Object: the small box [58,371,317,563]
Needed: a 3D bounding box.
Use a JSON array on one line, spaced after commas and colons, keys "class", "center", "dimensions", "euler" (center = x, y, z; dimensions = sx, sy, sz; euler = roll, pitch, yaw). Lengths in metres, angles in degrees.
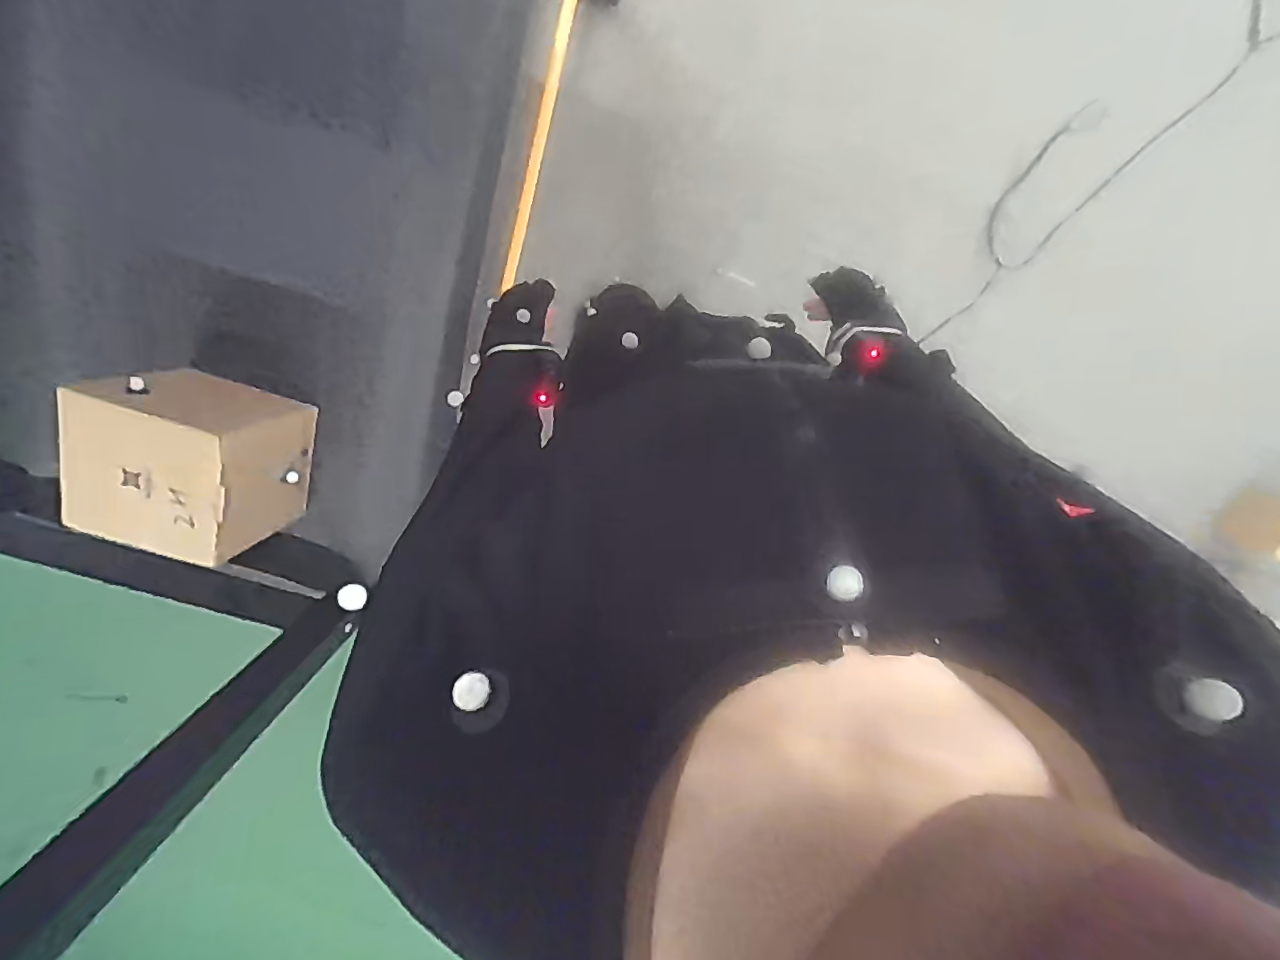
[{"class": "small box", "center": [-0.539, -0.027, 0.662], "dimensions": [0.179, 0.176, 0.168], "euler": [18, 108, -3]}]
